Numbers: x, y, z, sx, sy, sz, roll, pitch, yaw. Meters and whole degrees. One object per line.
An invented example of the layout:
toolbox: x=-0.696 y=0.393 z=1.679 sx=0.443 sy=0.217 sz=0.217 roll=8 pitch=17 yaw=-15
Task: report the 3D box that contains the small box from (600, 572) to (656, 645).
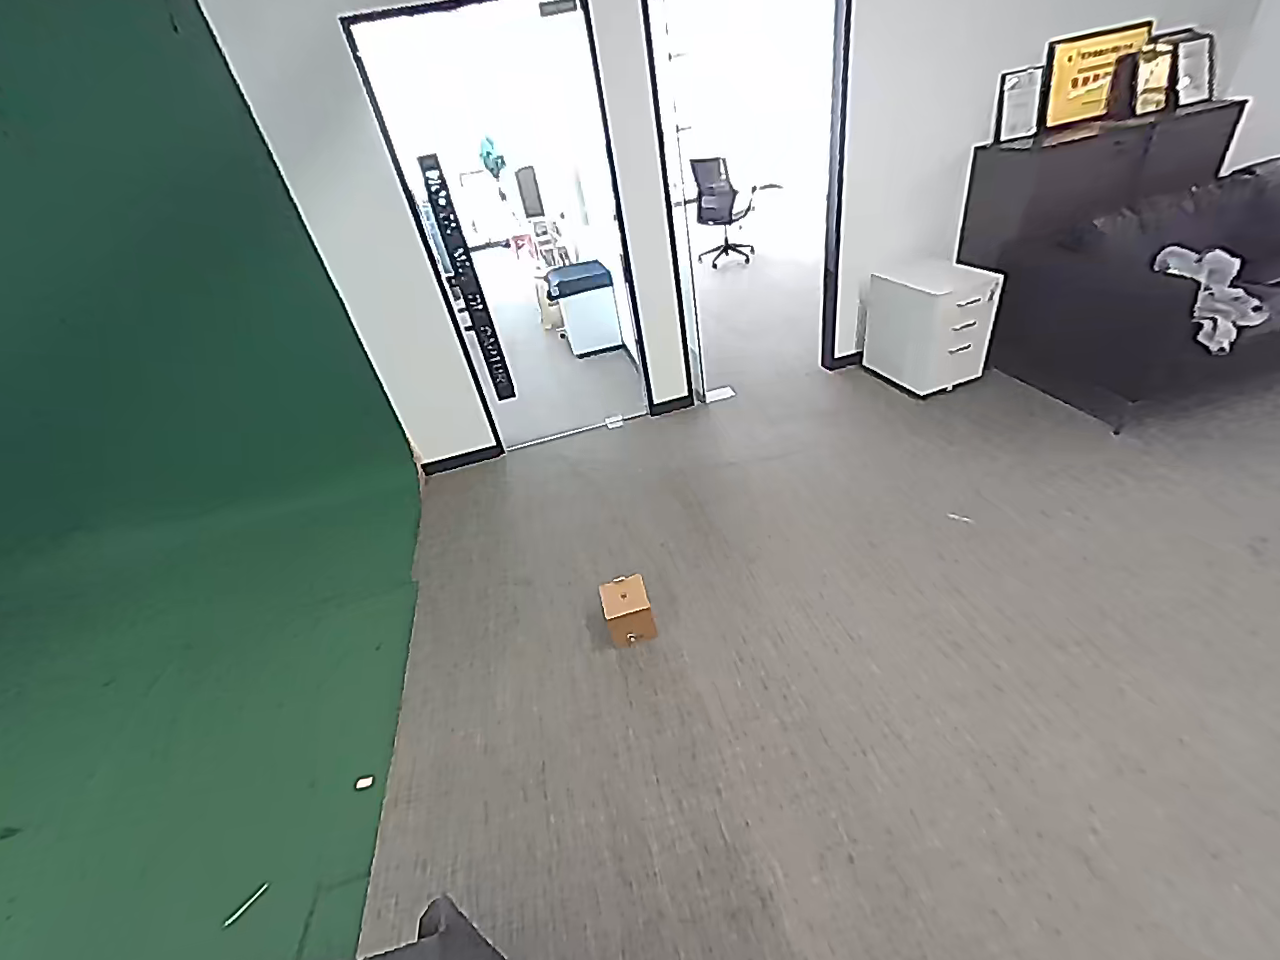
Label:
small box: x=-0.045 y=0.476 z=1.998 sx=0.168 sy=0.176 sz=0.179 roll=-15 pitch=35 yaw=-2
